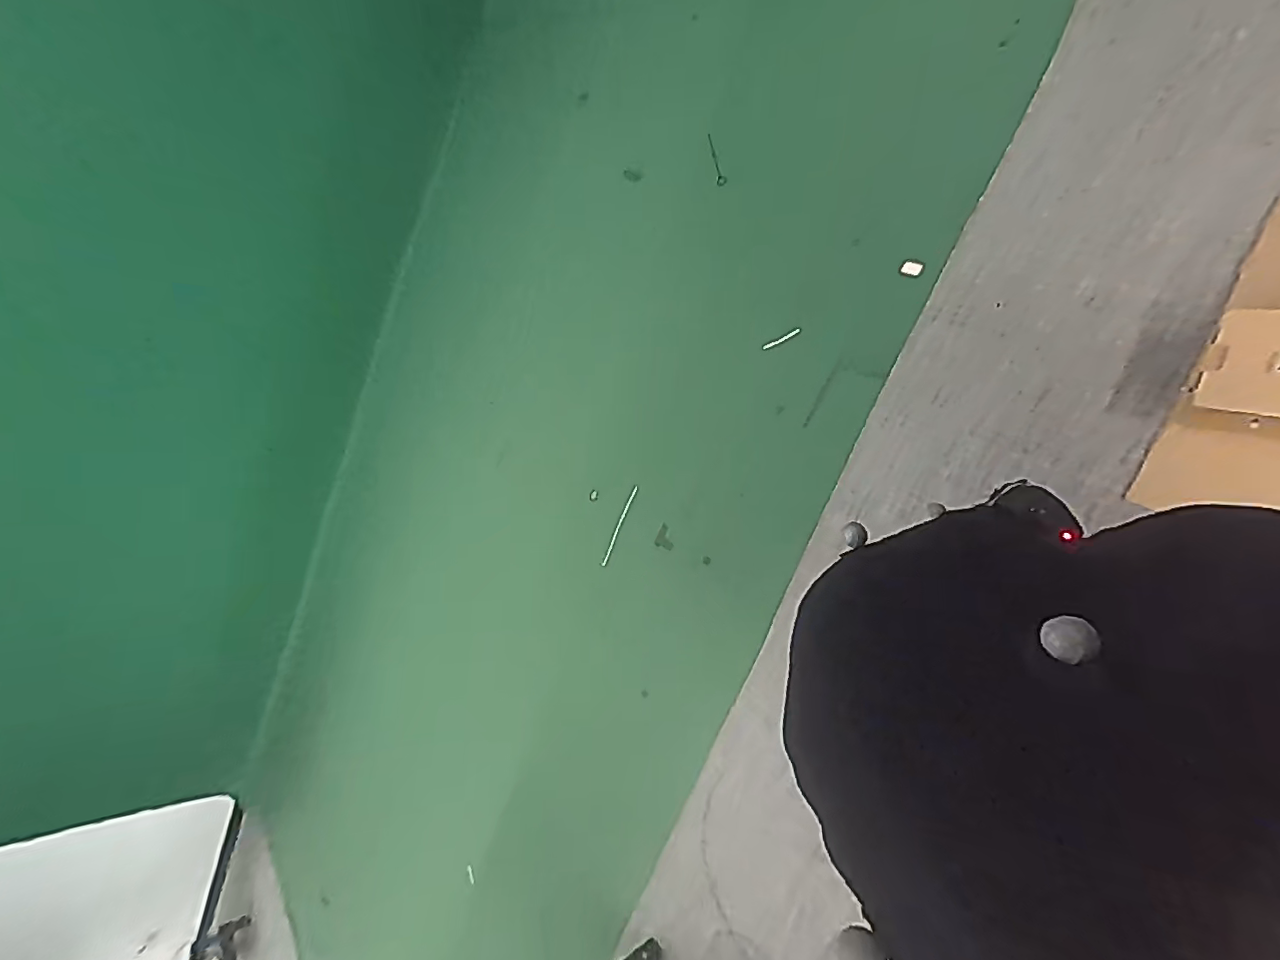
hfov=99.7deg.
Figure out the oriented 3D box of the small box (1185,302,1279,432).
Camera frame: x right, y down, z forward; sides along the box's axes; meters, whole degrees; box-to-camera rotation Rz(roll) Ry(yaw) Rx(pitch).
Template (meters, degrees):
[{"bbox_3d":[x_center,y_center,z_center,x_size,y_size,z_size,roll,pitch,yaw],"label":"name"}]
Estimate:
[{"bbox_3d":[1.036,-0.178,0.881,0.179,0.176,0.168,20,97,41],"label":"small box"}]
